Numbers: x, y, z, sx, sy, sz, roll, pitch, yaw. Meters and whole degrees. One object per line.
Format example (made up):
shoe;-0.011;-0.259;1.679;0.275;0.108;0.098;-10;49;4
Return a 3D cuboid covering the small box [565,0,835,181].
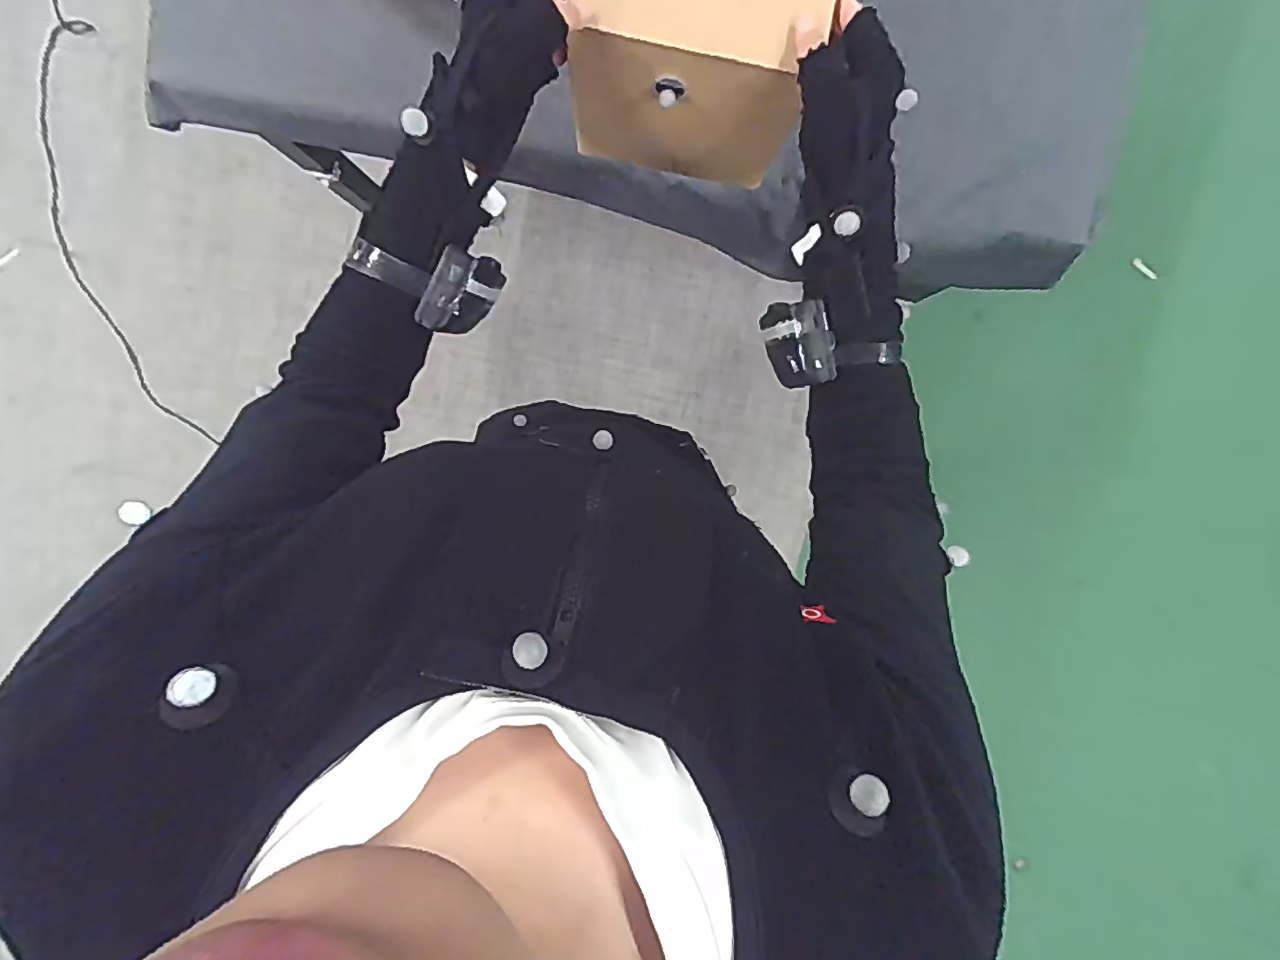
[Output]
small box;0.046;-0.368;0.430;0.179;0.176;0.168;10;95;-4
